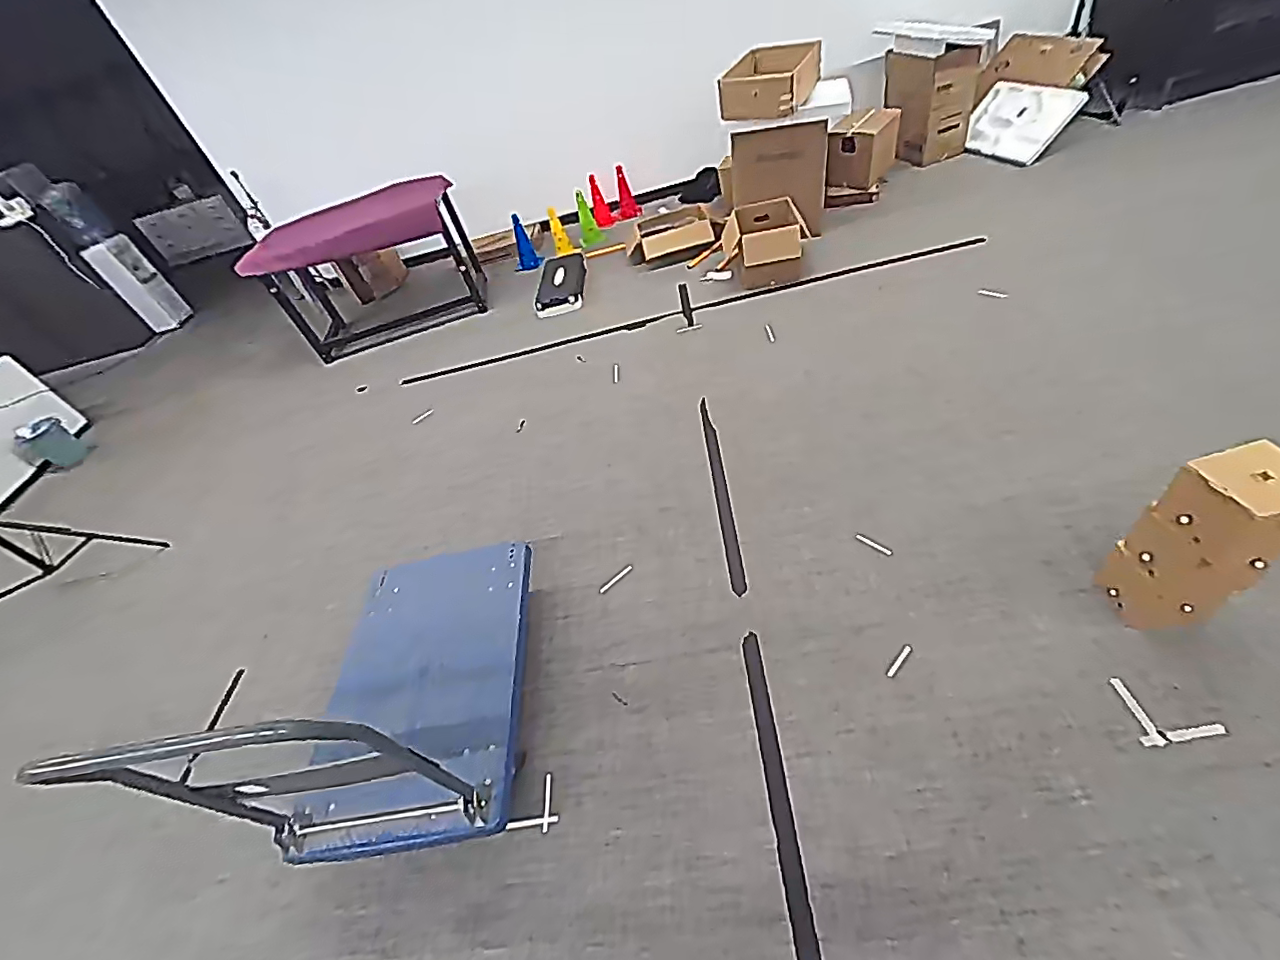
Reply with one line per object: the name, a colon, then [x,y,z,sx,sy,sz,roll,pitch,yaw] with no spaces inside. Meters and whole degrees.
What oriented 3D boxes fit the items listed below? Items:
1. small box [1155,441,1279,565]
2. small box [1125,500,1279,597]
small box: [1.261,0.051,1.138,0.179,0.176,0.168,-17,43,2]
small box: [1.298,0.154,1.259,0.179,0.176,0.168,-9,43,11]
